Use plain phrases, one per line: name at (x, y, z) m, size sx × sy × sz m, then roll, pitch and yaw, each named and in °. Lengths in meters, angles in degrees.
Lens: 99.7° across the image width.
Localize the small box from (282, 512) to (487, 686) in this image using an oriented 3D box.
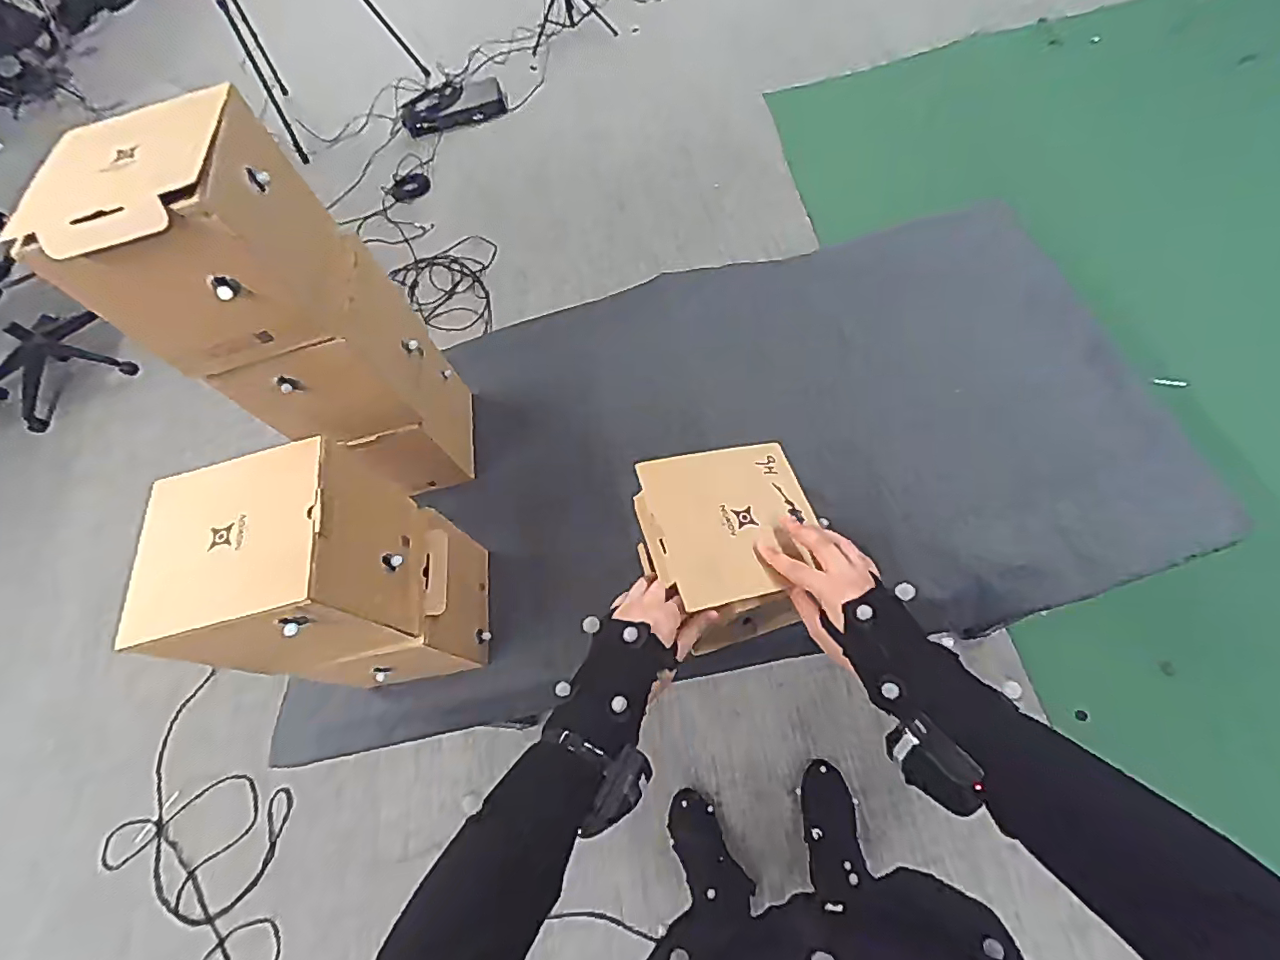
small box at (-0.306, 0.159, 0.689) m, size 0.179 × 0.176 × 0.168 m, roll -12°, pitch 62°, yaw 6°

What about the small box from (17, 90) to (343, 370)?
small box at (-0.421, -0.231, 0.534) m, size 0.168 × 0.176 × 0.179 m, roll -15°, pitch 61°, yaw 2°

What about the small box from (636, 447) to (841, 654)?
small box at (0.114, 0.094, 0.640) m, size 0.179 × 0.176 × 0.168 m, roll -20°, pitch 63°, yaw 3°

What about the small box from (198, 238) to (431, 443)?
small box at (-0.387, -0.162, 0.677) m, size 0.179 × 0.176 × 0.168 m, roll -12°, pitch 63°, yaw 4°

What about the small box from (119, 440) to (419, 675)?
small box at (-0.349, 0.089, 0.549) m, size 0.179 × 0.176 × 0.168 m, roll -15°, pitch 62°, yaw 3°
